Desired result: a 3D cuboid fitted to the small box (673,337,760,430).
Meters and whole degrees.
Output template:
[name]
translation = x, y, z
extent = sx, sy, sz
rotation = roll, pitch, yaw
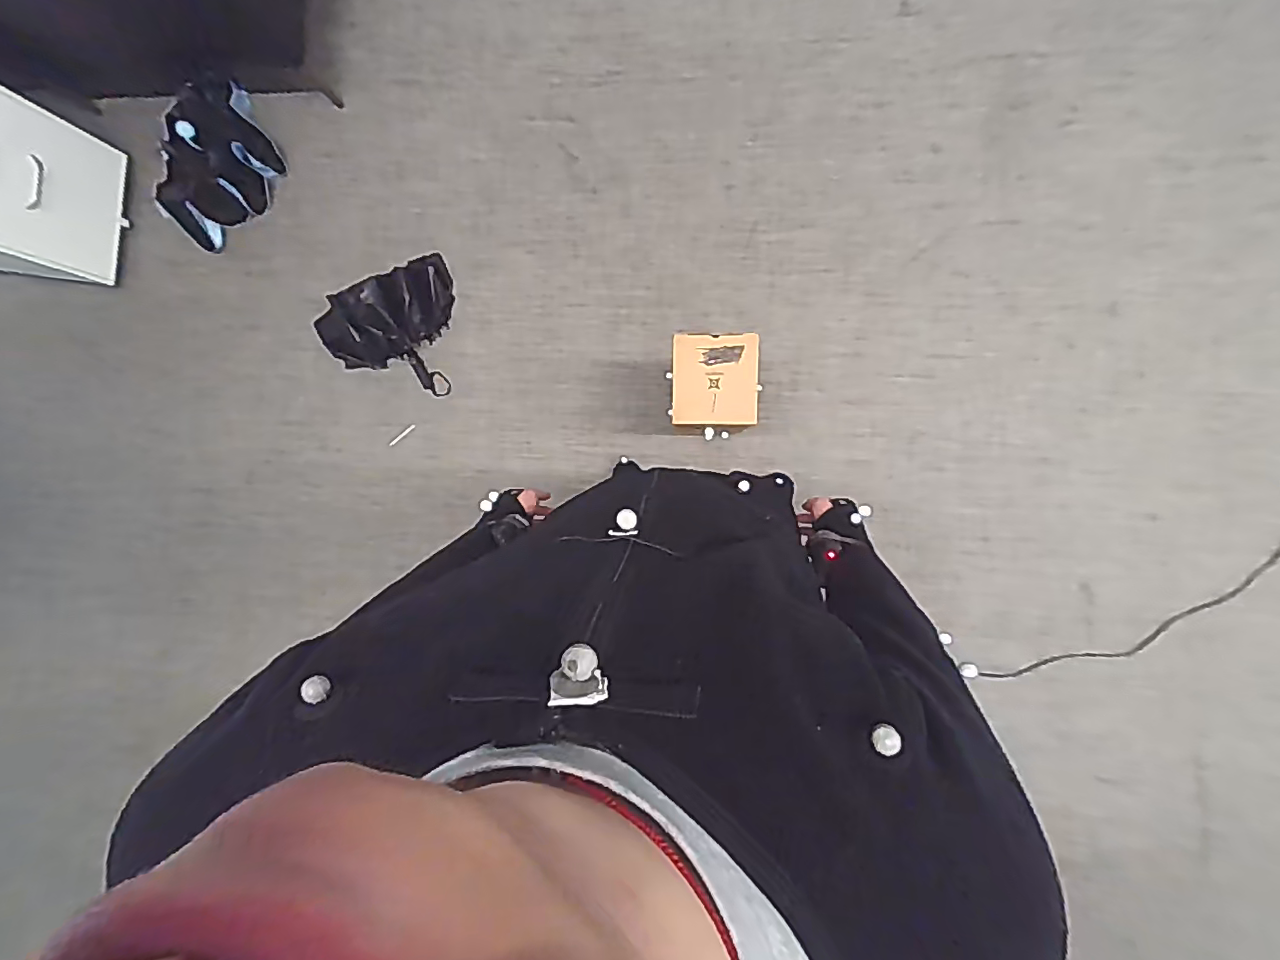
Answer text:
[small box]
translation = 0.153, -0.194, 1.120
extent = 0.168, 0.176, 0.179
rotation = 1, 95, 6
